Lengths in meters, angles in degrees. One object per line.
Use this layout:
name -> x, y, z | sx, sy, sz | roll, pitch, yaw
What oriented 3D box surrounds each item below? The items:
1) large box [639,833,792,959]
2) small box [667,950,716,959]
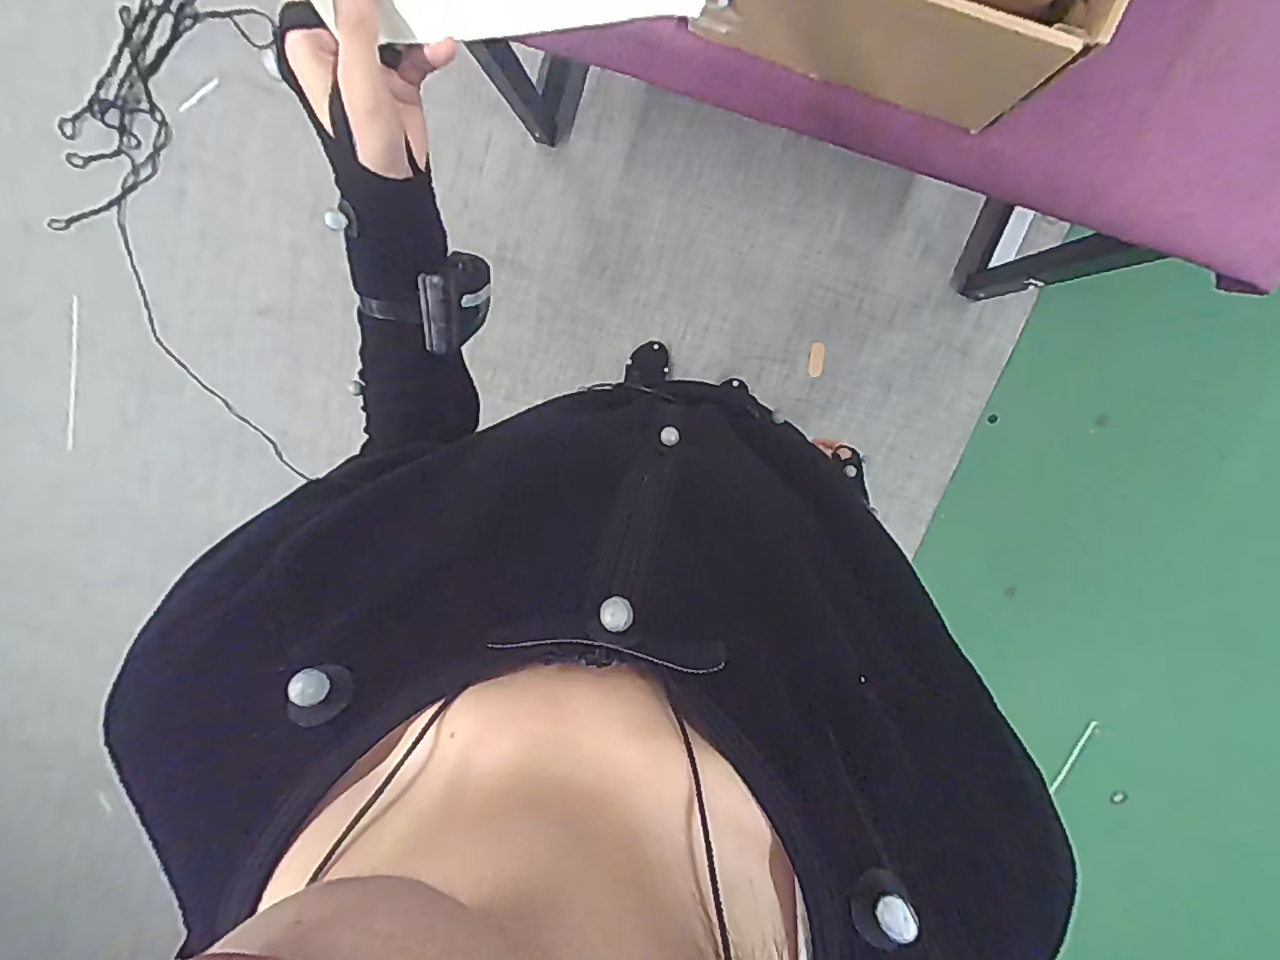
large box -> 0.206, 1.322, 1.613 | 0.408, 0.320, 0.320 | 5, 103, 4
small box -> 0.140, 1.353, 1.374 | 0.168, 0.176, 0.179 | 6, 101, 5
